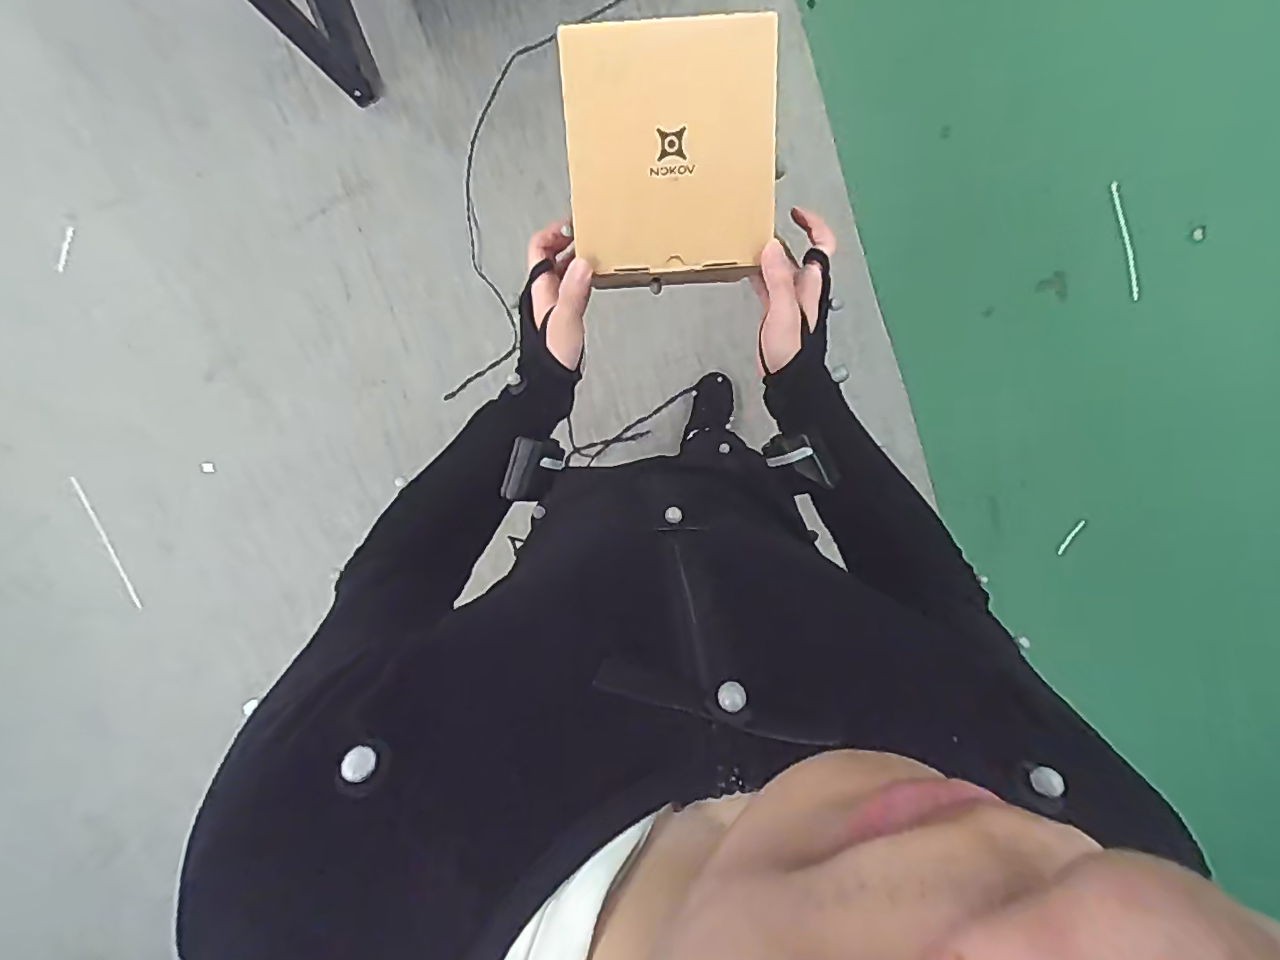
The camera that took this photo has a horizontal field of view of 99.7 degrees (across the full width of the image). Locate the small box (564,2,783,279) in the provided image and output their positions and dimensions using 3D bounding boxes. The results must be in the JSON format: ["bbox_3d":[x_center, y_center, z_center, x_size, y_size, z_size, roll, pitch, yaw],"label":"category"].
[{"bbox_3d":[0.025,-0.285,0.494,0.168,0.176,0.179,-3,107,0],"label":"small box"}]
